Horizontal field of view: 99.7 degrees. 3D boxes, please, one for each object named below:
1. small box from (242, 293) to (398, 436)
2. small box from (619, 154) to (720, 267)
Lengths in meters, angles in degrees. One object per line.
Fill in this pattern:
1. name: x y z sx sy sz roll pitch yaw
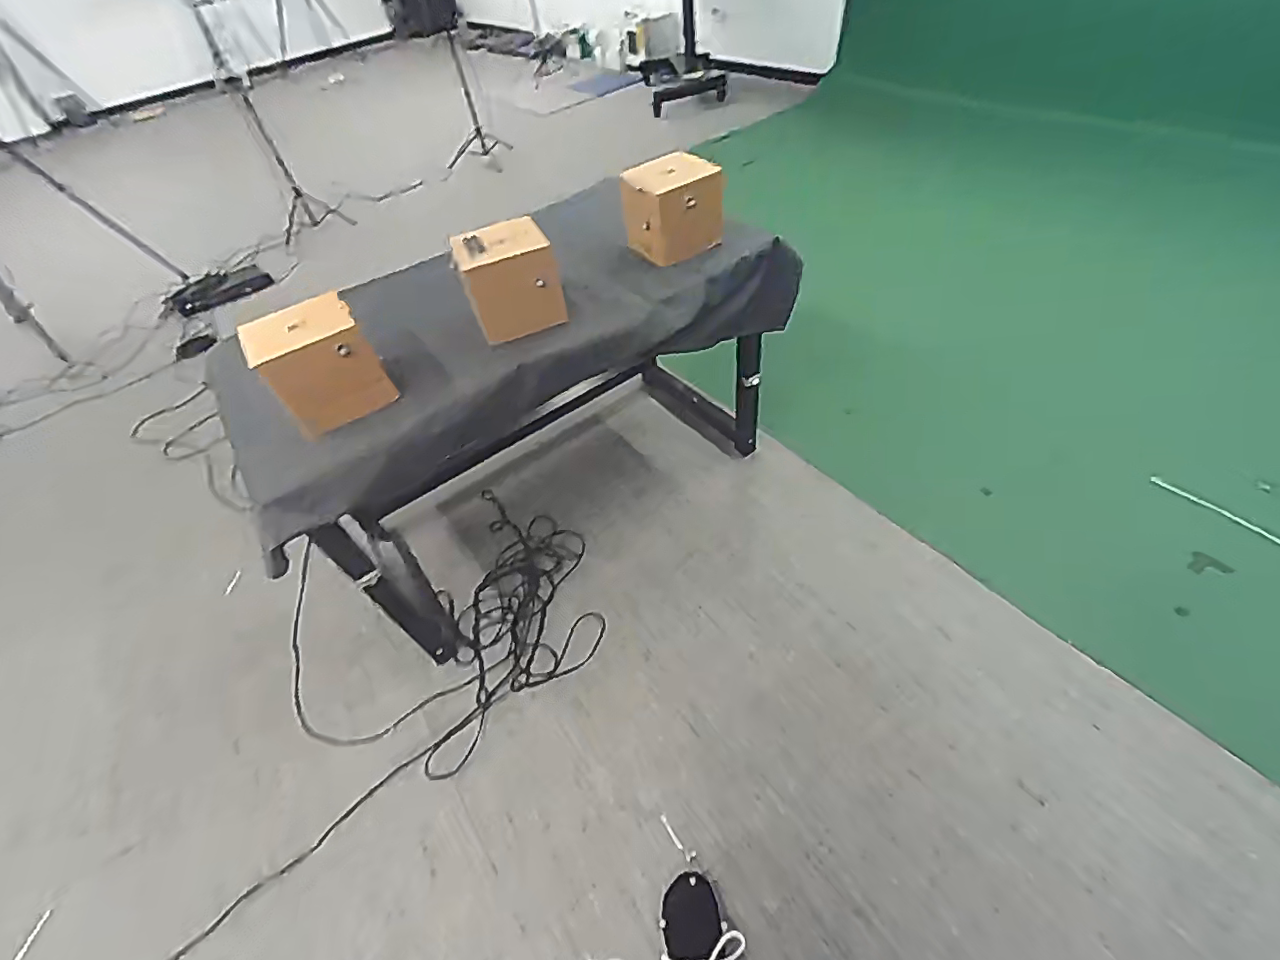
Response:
1. small box: -0.586 -0.211 1.001 0.179 0.176 0.168 -31 51 -18
2. small box: 0.073 -0.623 1.254 0.179 0.176 0.168 -28 52 -16
